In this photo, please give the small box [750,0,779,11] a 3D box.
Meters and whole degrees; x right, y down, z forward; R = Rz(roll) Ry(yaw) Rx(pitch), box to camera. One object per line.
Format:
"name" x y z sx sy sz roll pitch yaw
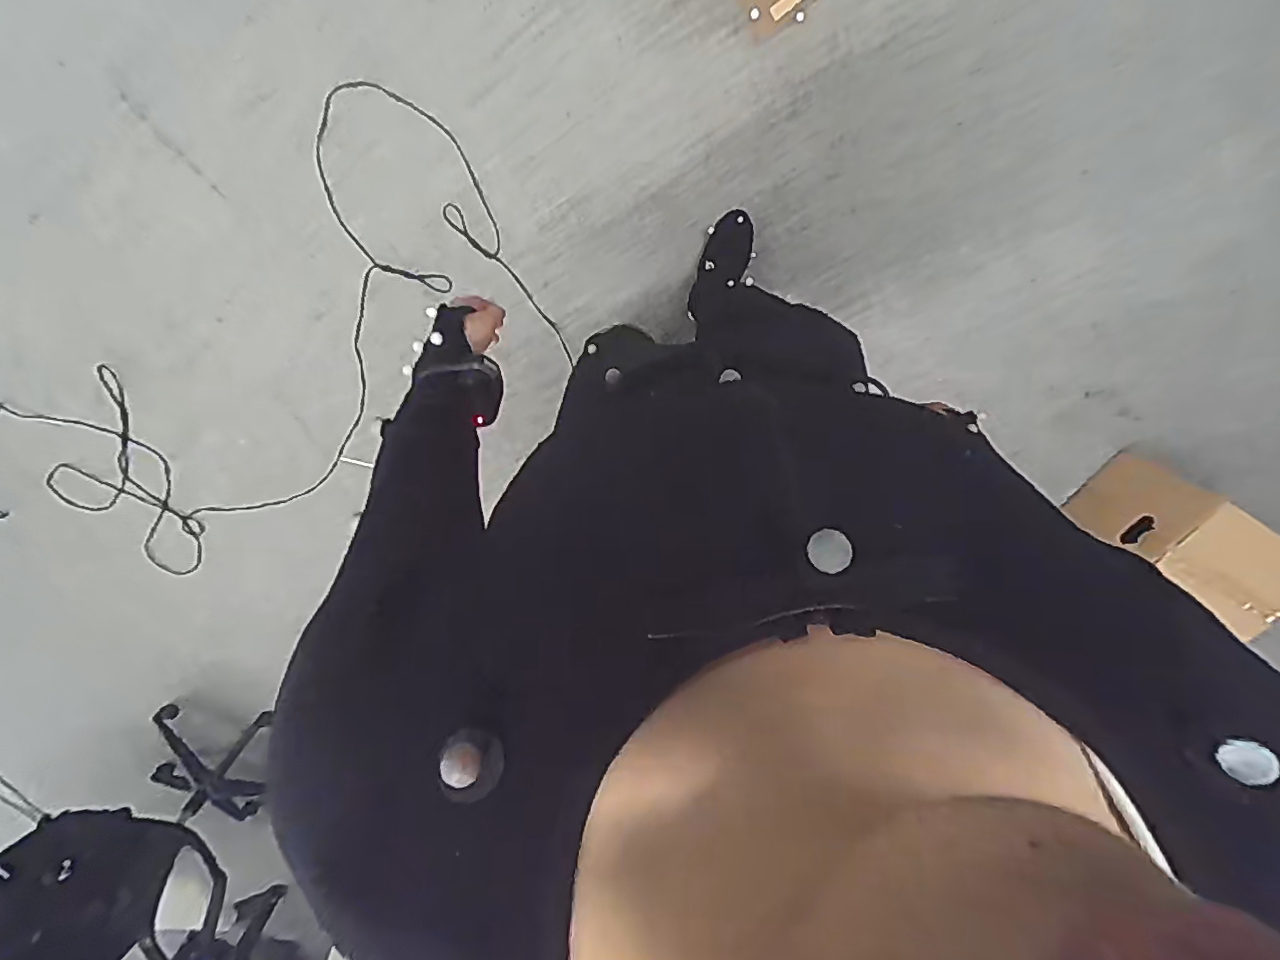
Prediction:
"small box" 0.242 -0.902 0.850 0.179 0.176 0.168 -28 112 15
